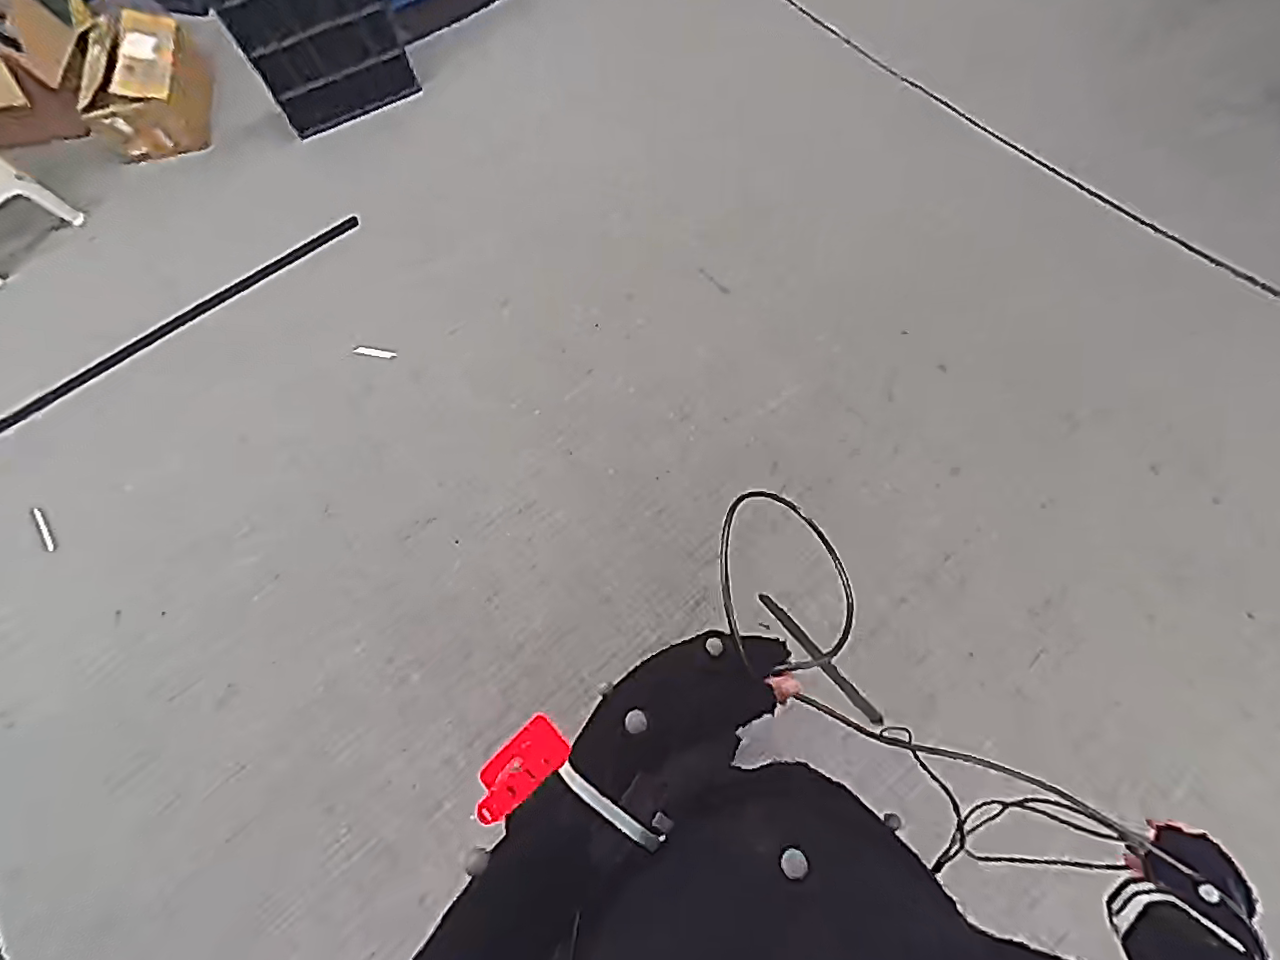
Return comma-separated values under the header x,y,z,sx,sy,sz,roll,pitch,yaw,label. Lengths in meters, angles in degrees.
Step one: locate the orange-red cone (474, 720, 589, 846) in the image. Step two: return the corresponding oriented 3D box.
x,y,z,sx,sy,sz,roll,pitch,yaw,label
-0.252,0.619,1.068,0.198,0.360,0.199,-42,71,-12,orange-red cone
